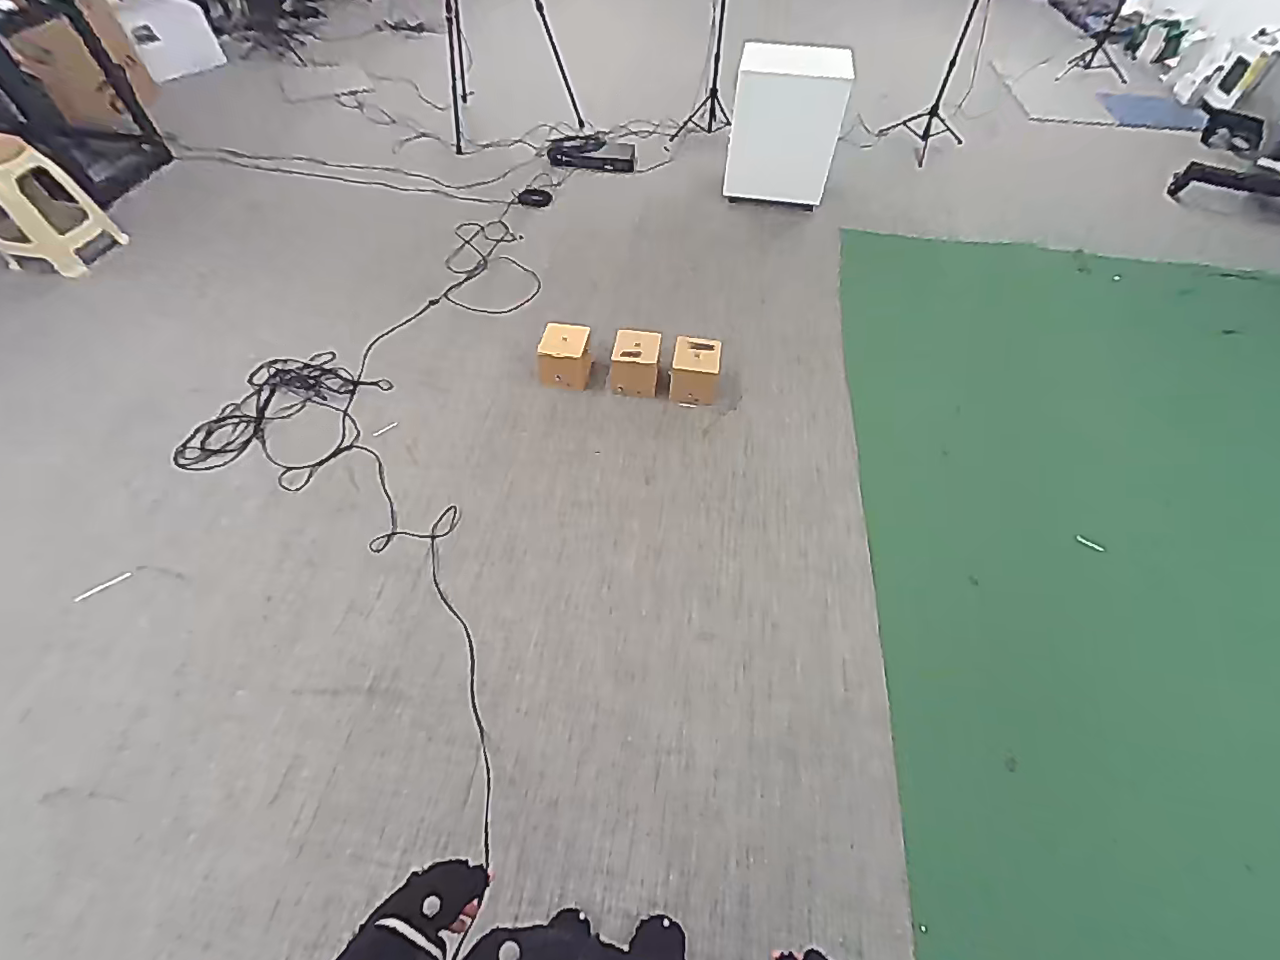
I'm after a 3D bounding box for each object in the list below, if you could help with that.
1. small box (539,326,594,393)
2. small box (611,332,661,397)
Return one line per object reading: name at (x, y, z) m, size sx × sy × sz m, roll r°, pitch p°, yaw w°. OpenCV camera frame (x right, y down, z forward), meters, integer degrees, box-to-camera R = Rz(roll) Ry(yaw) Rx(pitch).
small box at (-0.274, -0.460, 2.063) m, size 0.168 × 0.176 × 0.179 m, roll 7°, pitch 54°, yaw 5°
small box at (-0.010, -0.432, 2.041) m, size 0.168 × 0.176 × 0.179 m, roll 7°, pitch 53°, yaw 5°
